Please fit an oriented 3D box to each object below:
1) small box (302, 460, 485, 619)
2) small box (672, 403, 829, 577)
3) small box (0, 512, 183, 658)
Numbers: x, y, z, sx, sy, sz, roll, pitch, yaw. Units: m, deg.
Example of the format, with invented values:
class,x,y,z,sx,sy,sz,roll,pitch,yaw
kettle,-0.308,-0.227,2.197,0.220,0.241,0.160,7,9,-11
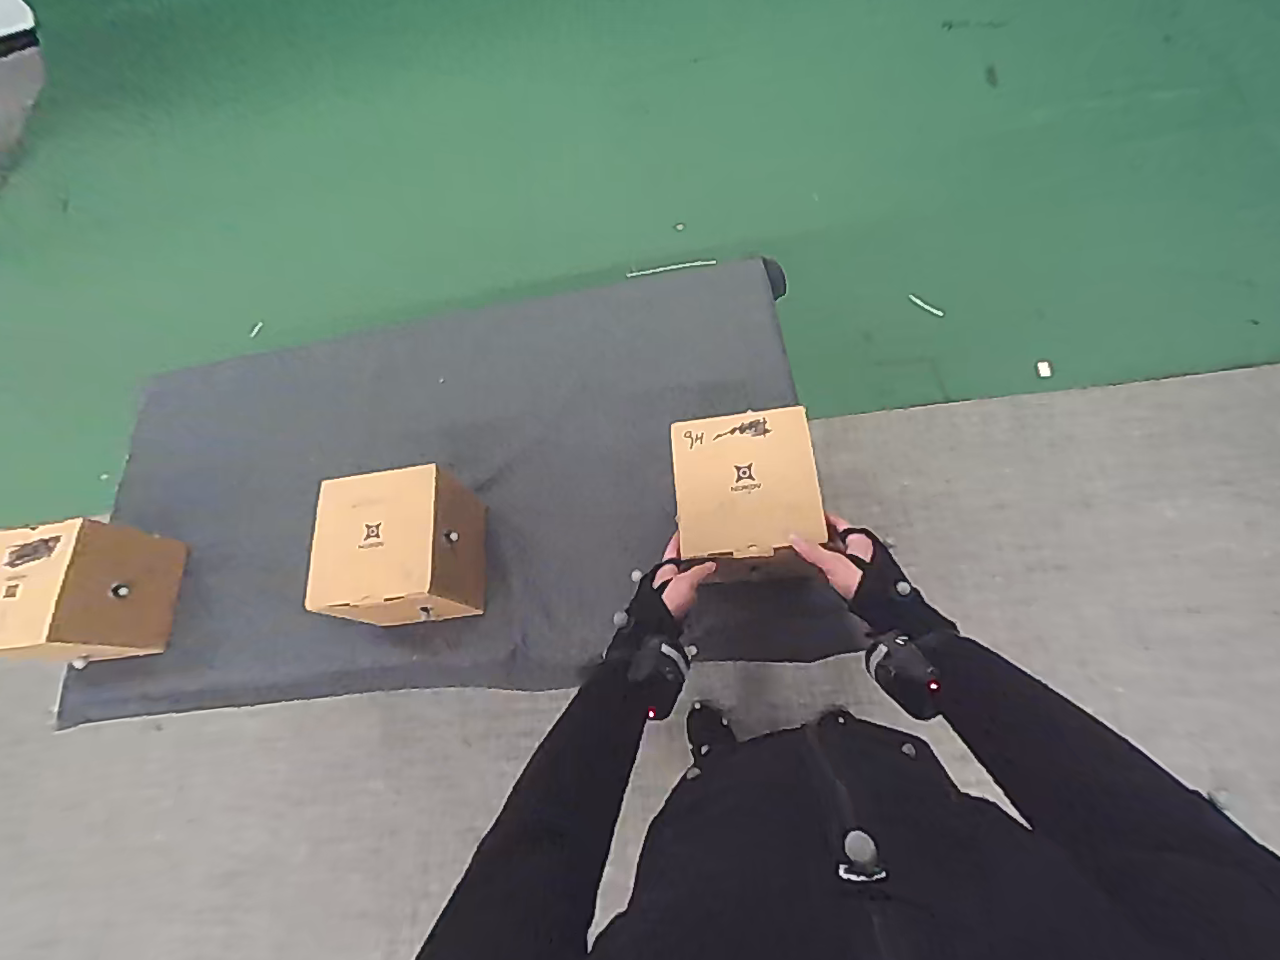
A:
class,x,y,z,sx,sy,sz,roll,pitch,yaw
small box,-0.327,0.093,0.754,0.168,0.176,0.179,-8,66,5
small box,0.138,0.025,0.696,0.168,0.176,0.179,-7,68,10
small box,-0.841,0.163,0.809,0.168,0.176,0.179,-8,68,6
